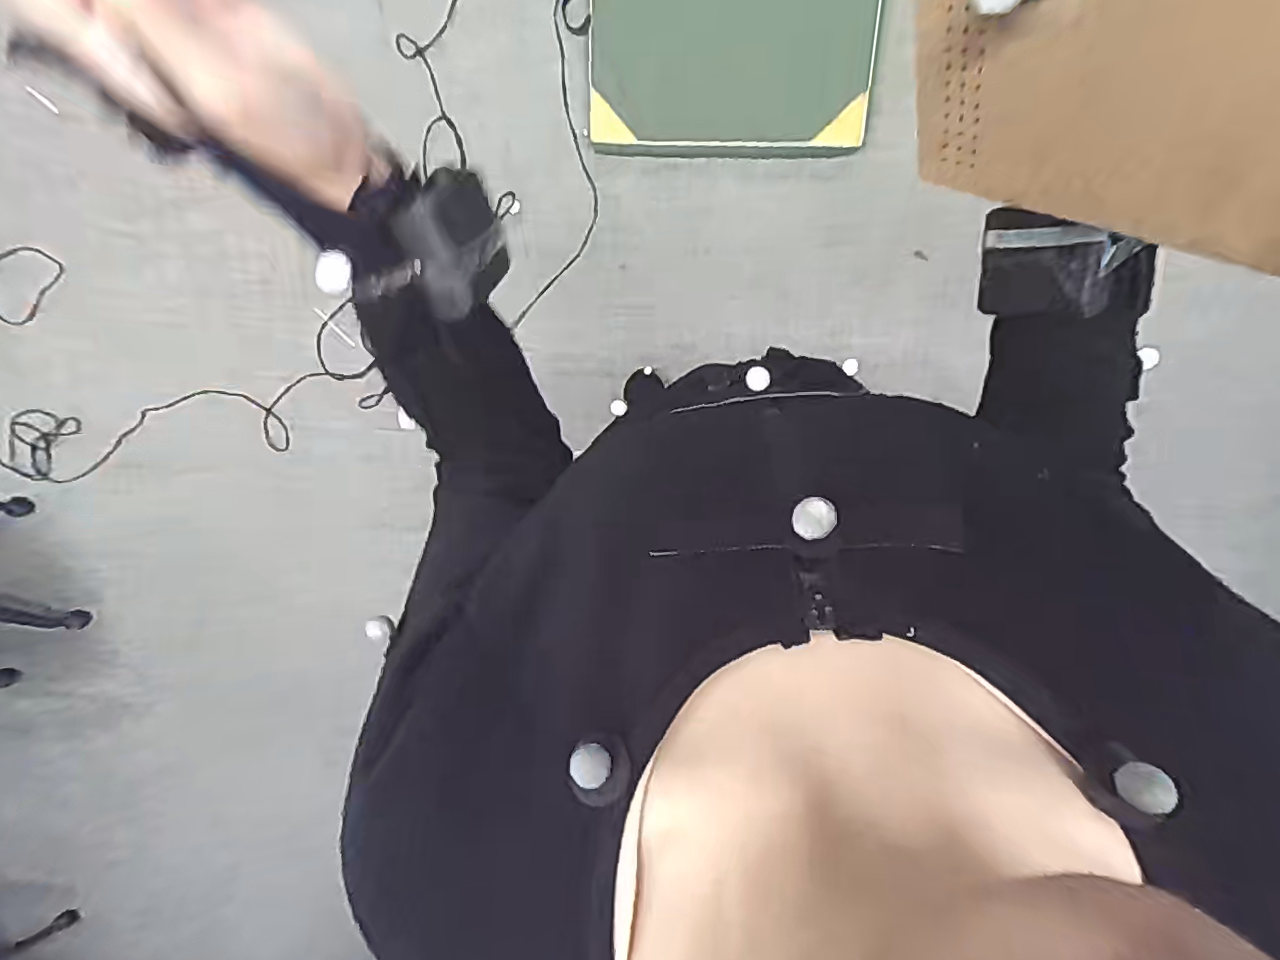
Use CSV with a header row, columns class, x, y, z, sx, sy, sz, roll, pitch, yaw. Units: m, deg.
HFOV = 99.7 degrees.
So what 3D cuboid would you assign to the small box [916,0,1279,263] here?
class,x,y,z,sx,sy,sz,roll,pitch,yaw
small box,0.193,-0.193,0.135,0.168,0.179,0.176,-46,53,0
